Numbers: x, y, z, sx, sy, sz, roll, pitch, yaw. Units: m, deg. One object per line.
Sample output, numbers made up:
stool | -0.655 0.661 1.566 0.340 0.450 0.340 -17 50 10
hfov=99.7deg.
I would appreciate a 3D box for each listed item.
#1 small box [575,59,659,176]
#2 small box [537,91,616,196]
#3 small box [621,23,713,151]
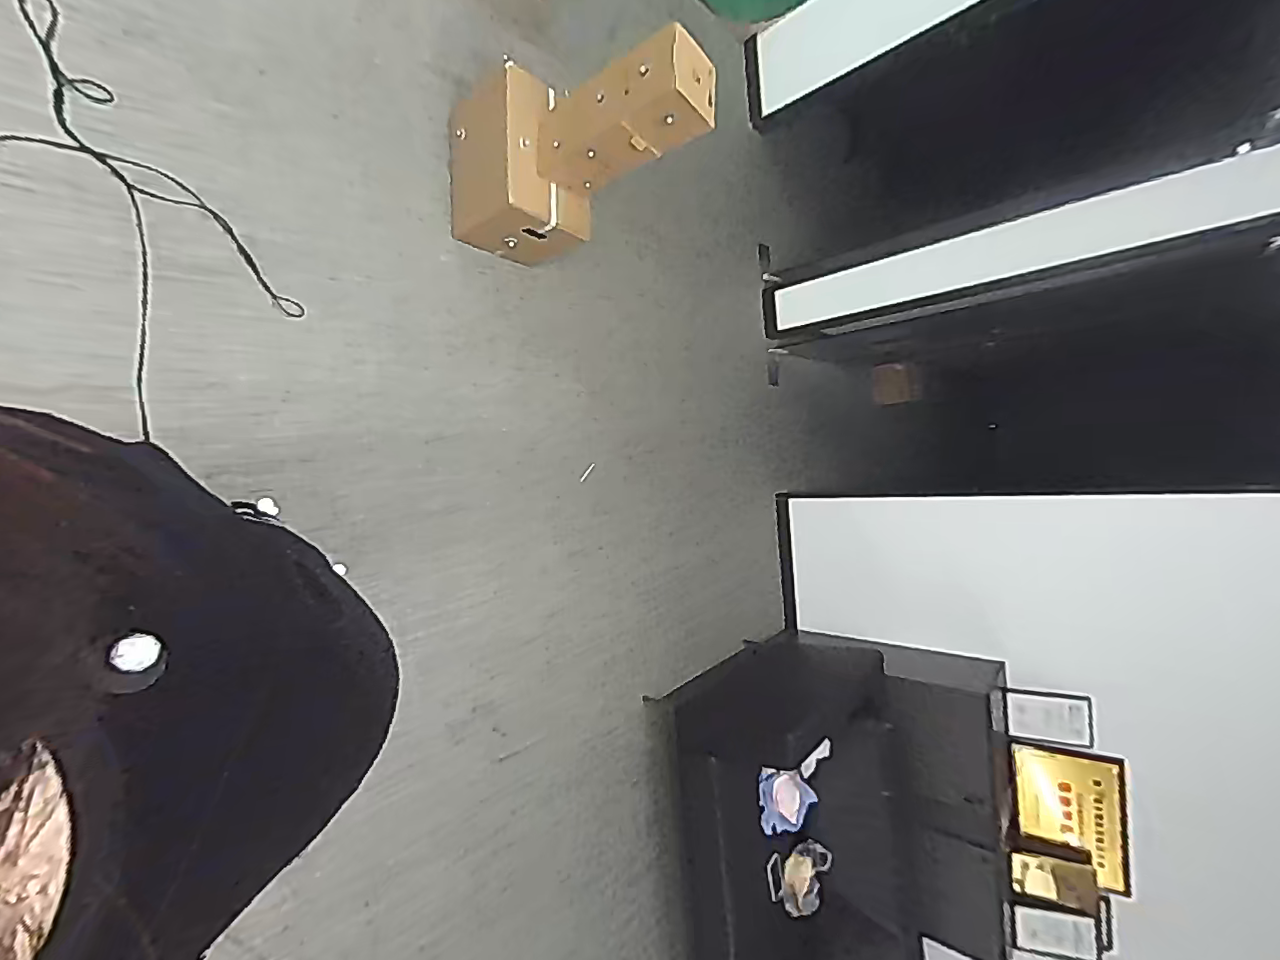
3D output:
small box | -0.061 -0.966 1.464 0.168 0.176 0.179 8 81 -50
small box | -0.184 -0.965 1.573 0.168 0.176 0.179 6 84 -50
small box | 0.067 -0.973 1.361 0.179 0.176 0.168 6 84 -50
